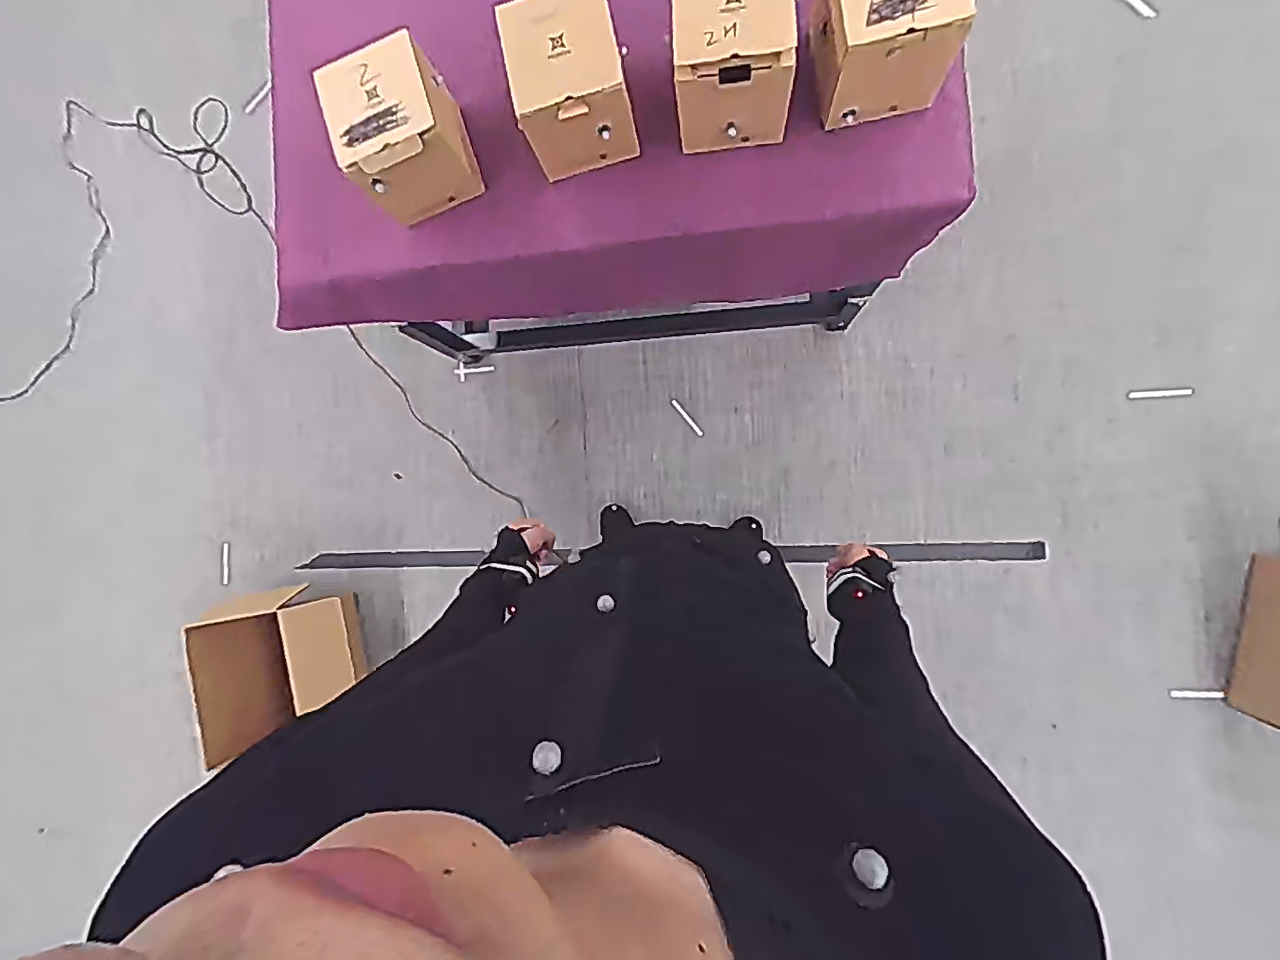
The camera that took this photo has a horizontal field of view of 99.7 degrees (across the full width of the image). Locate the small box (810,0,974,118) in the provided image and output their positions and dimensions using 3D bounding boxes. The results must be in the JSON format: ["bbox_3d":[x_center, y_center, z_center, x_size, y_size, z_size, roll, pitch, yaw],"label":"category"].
[{"bbox_3d":[0.353,-0.669,0.790,0.168,0.176,0.179,-8,86,8],"label":"small box"}]

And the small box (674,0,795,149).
[{"bbox_3d":[0.137,-0.644,0.820,0.168,0.176,0.179,-2,88,8],"label":"small box"}]

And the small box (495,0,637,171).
[{"bbox_3d":[-0.107,-0.625,0.856,0.168,0.176,0.179,-12,86,7],"label":"small box"}]
